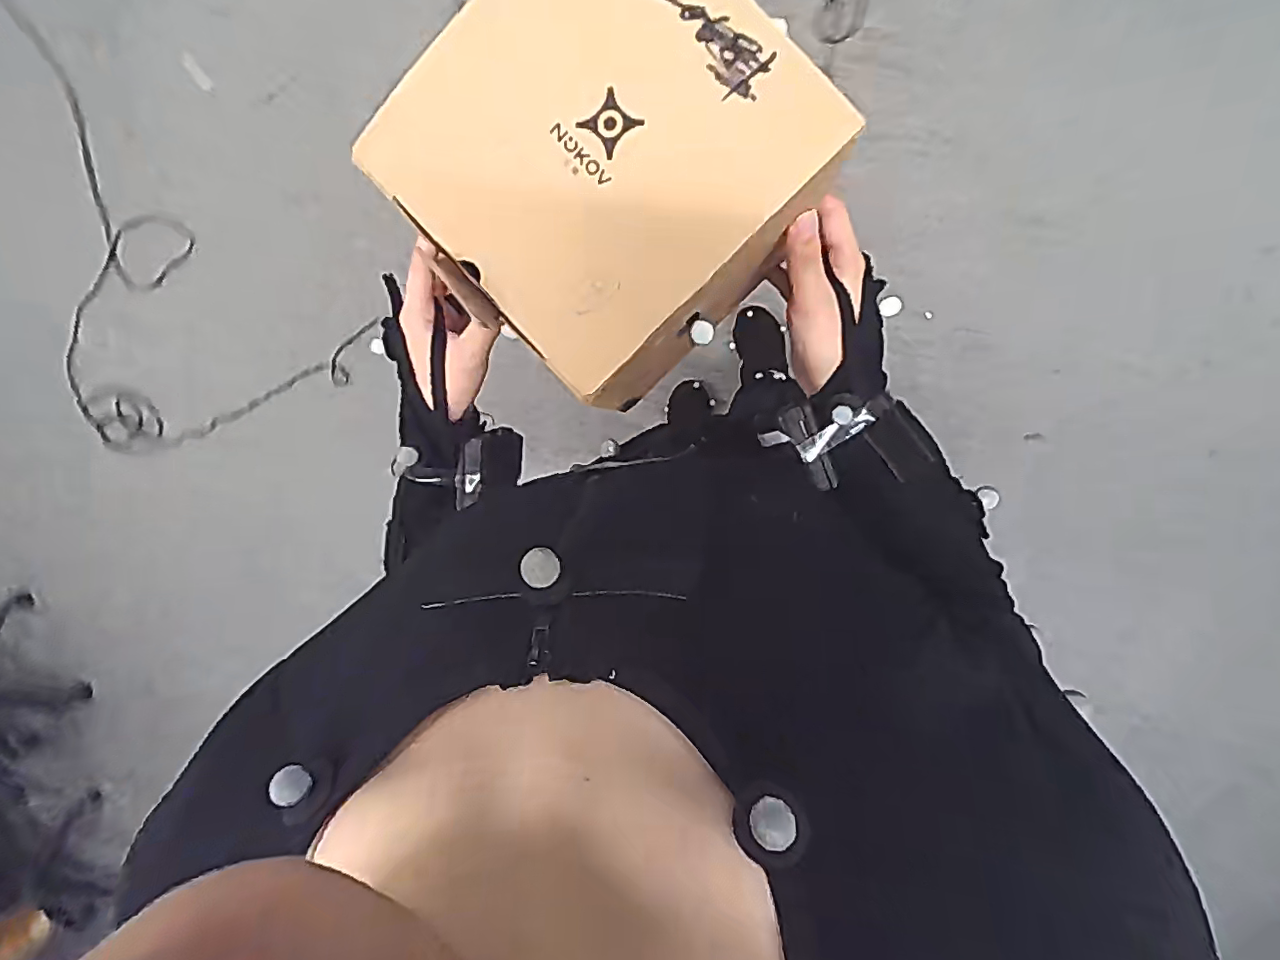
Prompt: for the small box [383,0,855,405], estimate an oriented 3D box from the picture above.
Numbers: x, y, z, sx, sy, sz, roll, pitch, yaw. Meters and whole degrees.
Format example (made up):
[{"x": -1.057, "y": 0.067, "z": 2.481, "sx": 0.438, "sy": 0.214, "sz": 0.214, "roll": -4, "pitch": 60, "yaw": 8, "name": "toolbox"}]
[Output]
[{"x": -0.006, "y": -0.161, "z": 0.338, "sx": 0.179, "sy": 0.176, "sz": 0.168, "roll": -43, "pitch": 91, "yaw": 8, "name": "small box"}]
